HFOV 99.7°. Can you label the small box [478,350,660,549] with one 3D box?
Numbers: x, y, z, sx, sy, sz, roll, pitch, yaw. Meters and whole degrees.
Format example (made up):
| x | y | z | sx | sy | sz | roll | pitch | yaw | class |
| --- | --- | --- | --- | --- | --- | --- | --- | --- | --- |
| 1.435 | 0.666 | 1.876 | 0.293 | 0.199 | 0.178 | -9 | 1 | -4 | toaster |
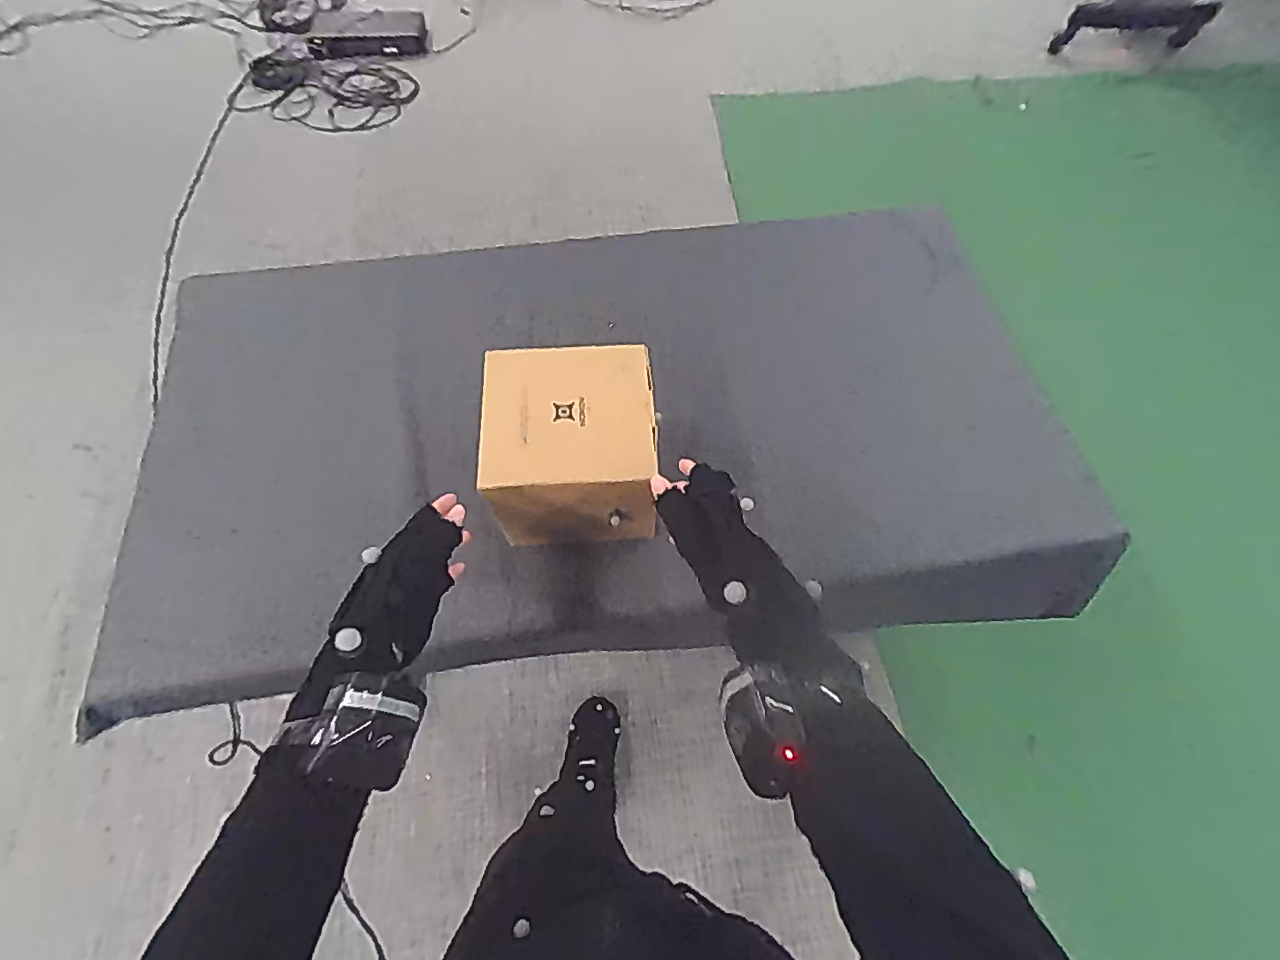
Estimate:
| x | y | z | sx | sy | sz | roll | pitch | yaw | class |
| --- | --- | --- | --- | --- | --- | --- | --- | --- | --- |
| -0.074 | -0.028 | 0.623 | 0.179 | 0.176 | 0.168 | -5 | 63 | -2 | small box |
